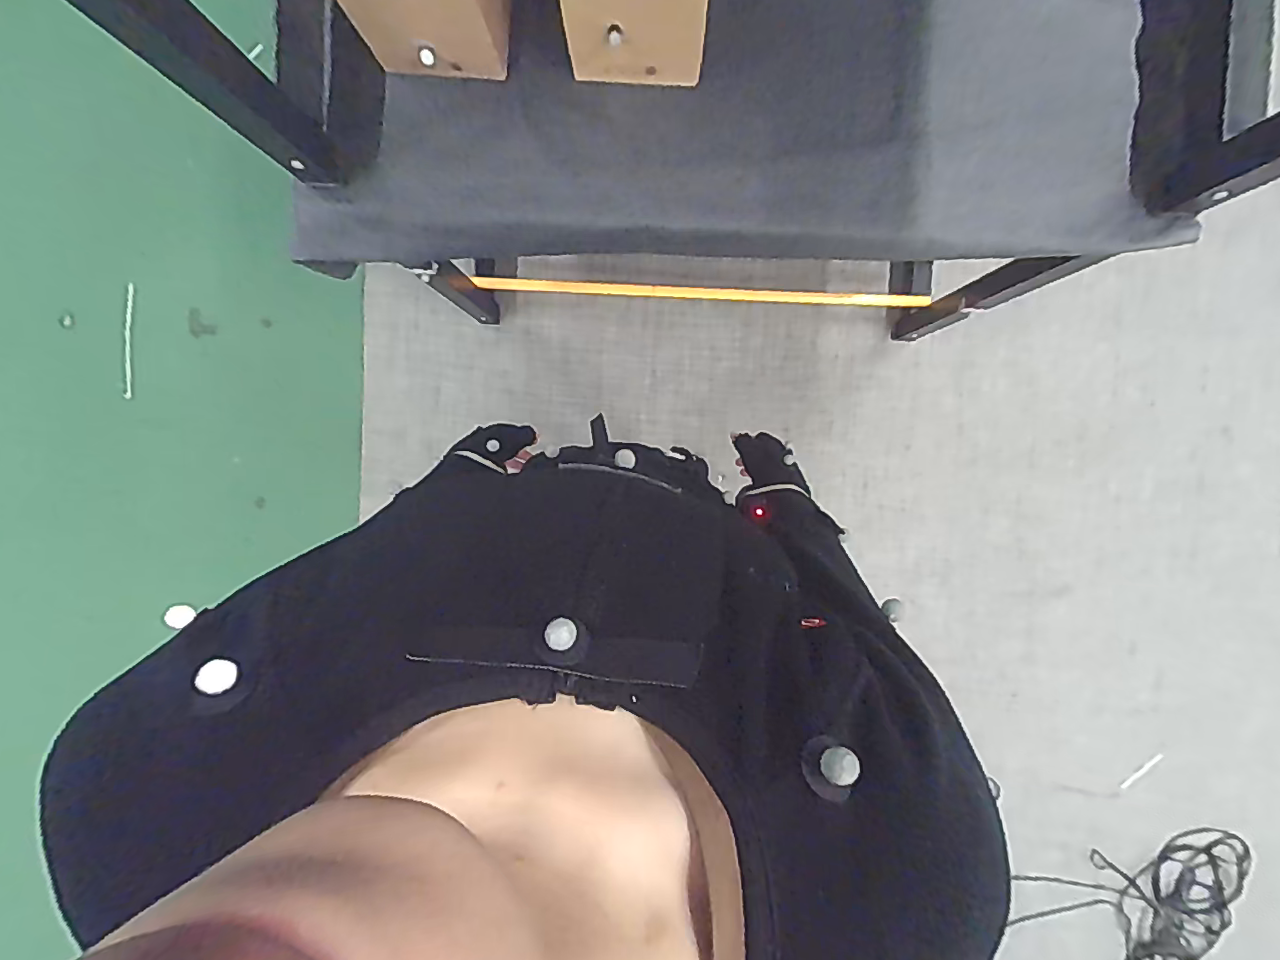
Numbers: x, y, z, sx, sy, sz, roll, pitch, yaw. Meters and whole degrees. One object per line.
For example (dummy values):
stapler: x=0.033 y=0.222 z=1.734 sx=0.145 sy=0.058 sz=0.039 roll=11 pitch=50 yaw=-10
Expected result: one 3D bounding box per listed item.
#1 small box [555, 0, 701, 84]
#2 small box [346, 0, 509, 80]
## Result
small box: x=-0.007 y=-0.614 z=0.644 sx=0.168 sy=0.176 sz=0.179 roll=3 pitch=93 yaw=1
small box: x=-0.259 y=-0.627 z=0.644 sx=0.168 sy=0.176 sz=0.179 roll=4 pitch=94 yaw=1
